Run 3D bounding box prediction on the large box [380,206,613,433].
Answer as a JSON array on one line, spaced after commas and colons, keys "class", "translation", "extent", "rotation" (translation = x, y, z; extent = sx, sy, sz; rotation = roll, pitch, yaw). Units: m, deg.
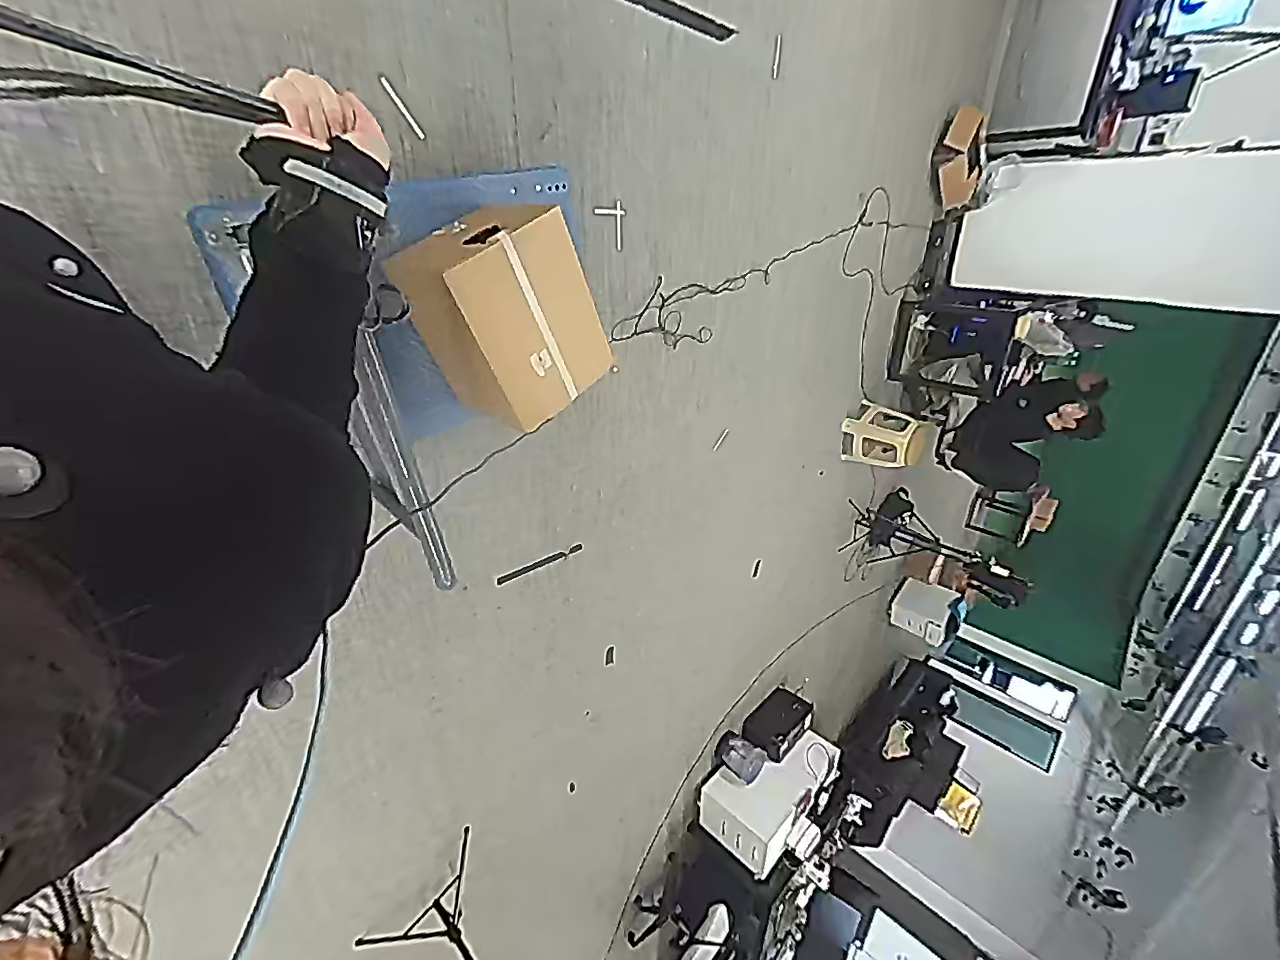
[{"class": "large box", "translation": [-0.327, -0.388, 1.296], "extent": [0.320, 0.320, 0.408], "rotation": [-44, 136, -24]}]
